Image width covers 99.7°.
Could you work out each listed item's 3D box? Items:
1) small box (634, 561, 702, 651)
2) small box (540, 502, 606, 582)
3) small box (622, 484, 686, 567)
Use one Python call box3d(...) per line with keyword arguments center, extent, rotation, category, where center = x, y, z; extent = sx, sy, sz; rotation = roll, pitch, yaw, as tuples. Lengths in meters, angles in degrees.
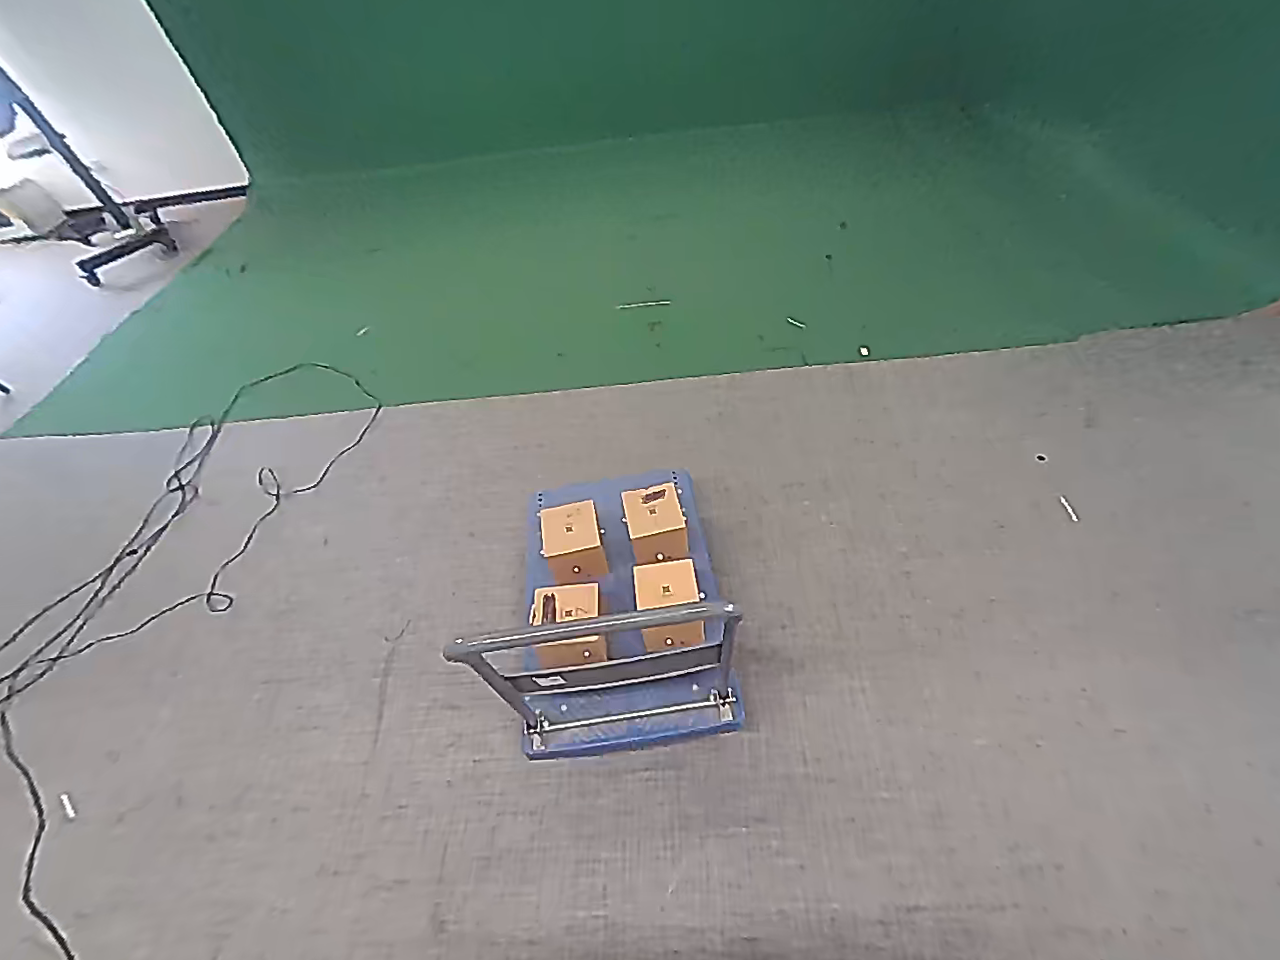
box3d(center=(0.075, 0.348, 1.486), extent=(0.168, 0.176, 0.179), rotation=(-8, 50, 1), category="small box")
box3d(center=(-0.202, 0.195, 1.649), extent=(0.168, 0.176, 0.179), rotation=(-11, 50, -2), category="small box")
box3d(center=(0.044, 0.142, 1.659), extent=(0.168, 0.176, 0.179), rotation=(-12, 51, -1), category="small box")
